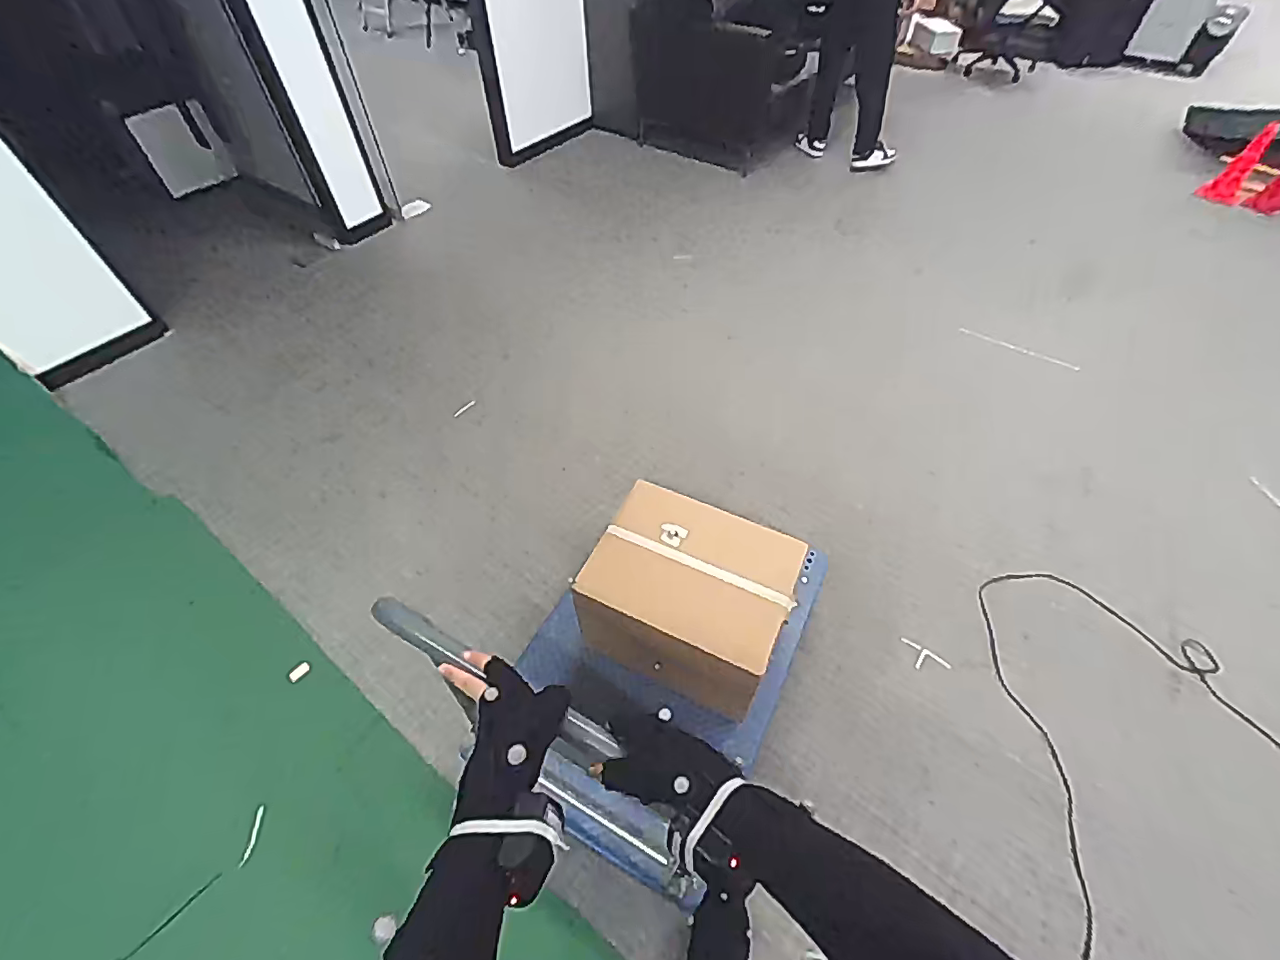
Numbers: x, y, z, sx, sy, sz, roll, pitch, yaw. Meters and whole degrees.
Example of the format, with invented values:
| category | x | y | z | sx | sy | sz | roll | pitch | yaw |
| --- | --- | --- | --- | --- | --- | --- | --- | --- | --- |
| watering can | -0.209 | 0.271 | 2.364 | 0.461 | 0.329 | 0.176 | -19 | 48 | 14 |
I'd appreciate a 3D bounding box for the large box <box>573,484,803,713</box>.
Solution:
| category | x | y | z | sx | sy | sz | roll | pitch | yaw |
| --- | --- | --- | --- | --- | --- | --- | --- | --- | --- |
| large box | 0.112 | 0.271 | 1.239 | 0.408 | 0.320 | 0.320 | 20 | 54 | 17 |
